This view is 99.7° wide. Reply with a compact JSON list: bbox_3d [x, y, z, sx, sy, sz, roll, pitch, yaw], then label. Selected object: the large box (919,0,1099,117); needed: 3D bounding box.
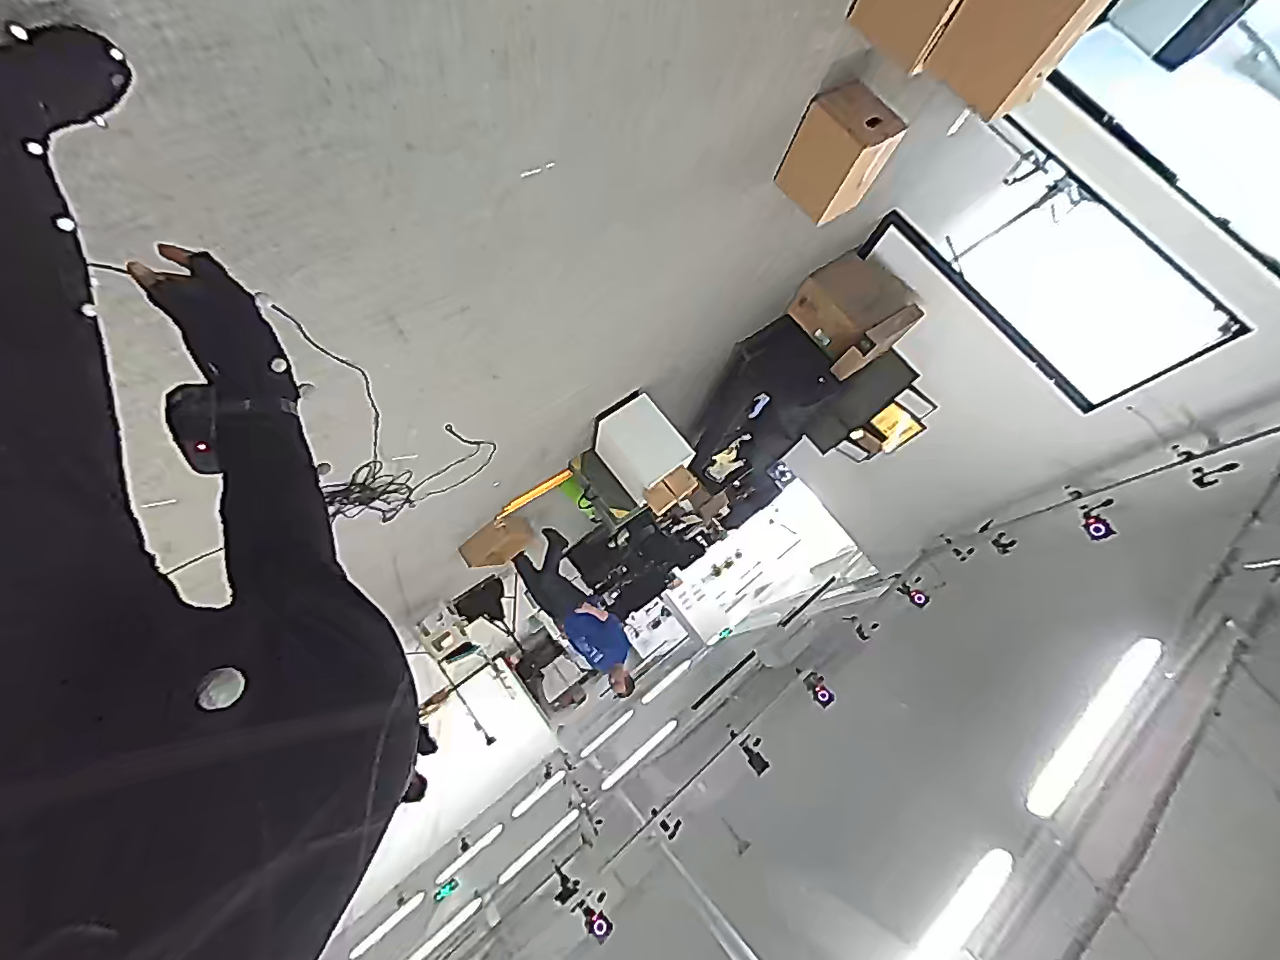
[{"bbox_3d":[1.196,-1.481,1.707,0.320,0.320,0.408,-38,171,-22],"label":"large box"}]
